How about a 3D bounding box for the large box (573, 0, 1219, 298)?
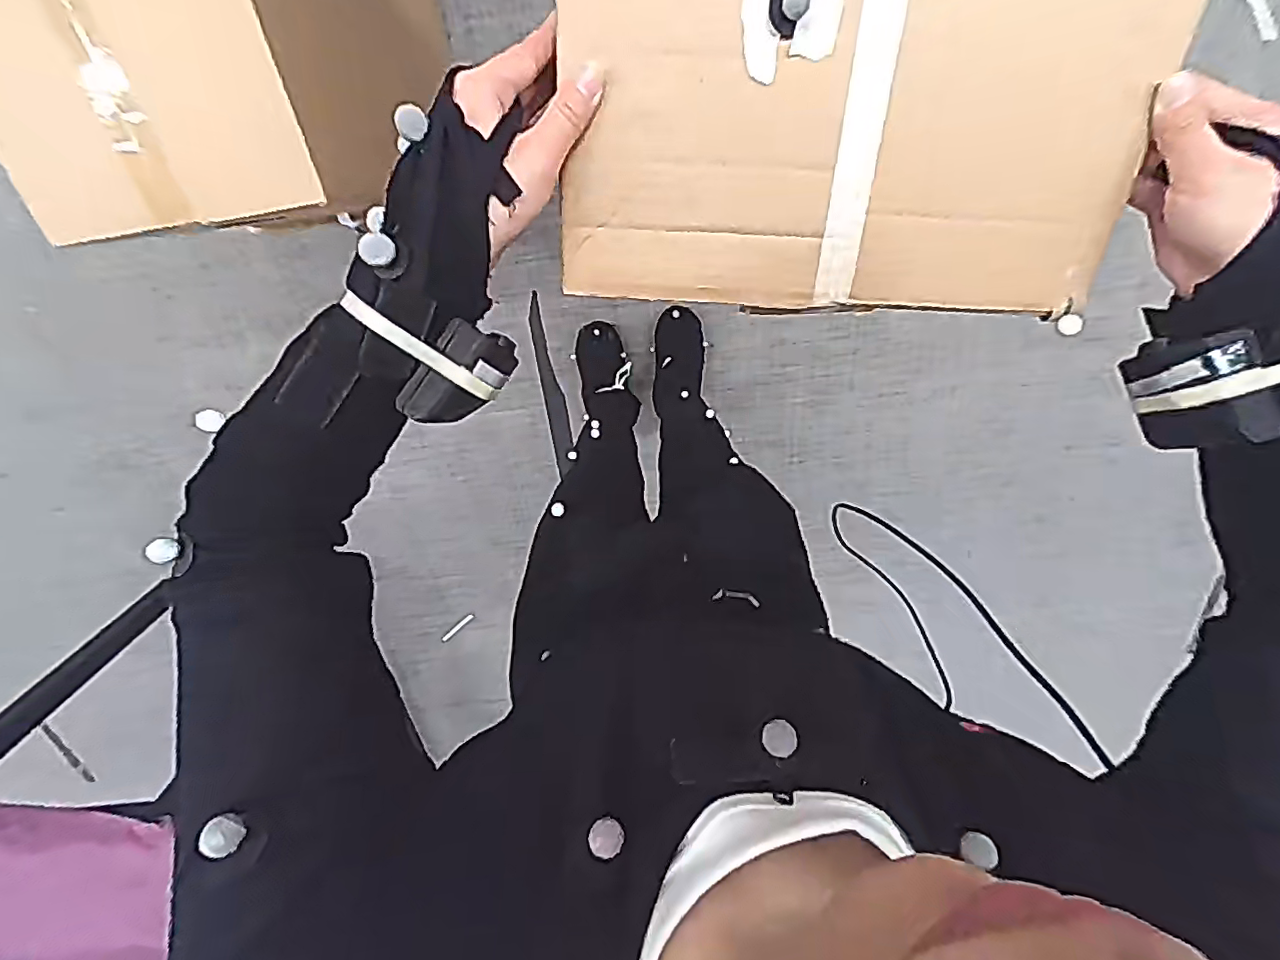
[{"bbox_3d":[0.123,-0.355,0.356,0.320,0.320,0.408,2,117,0],"label":"large box"}]
